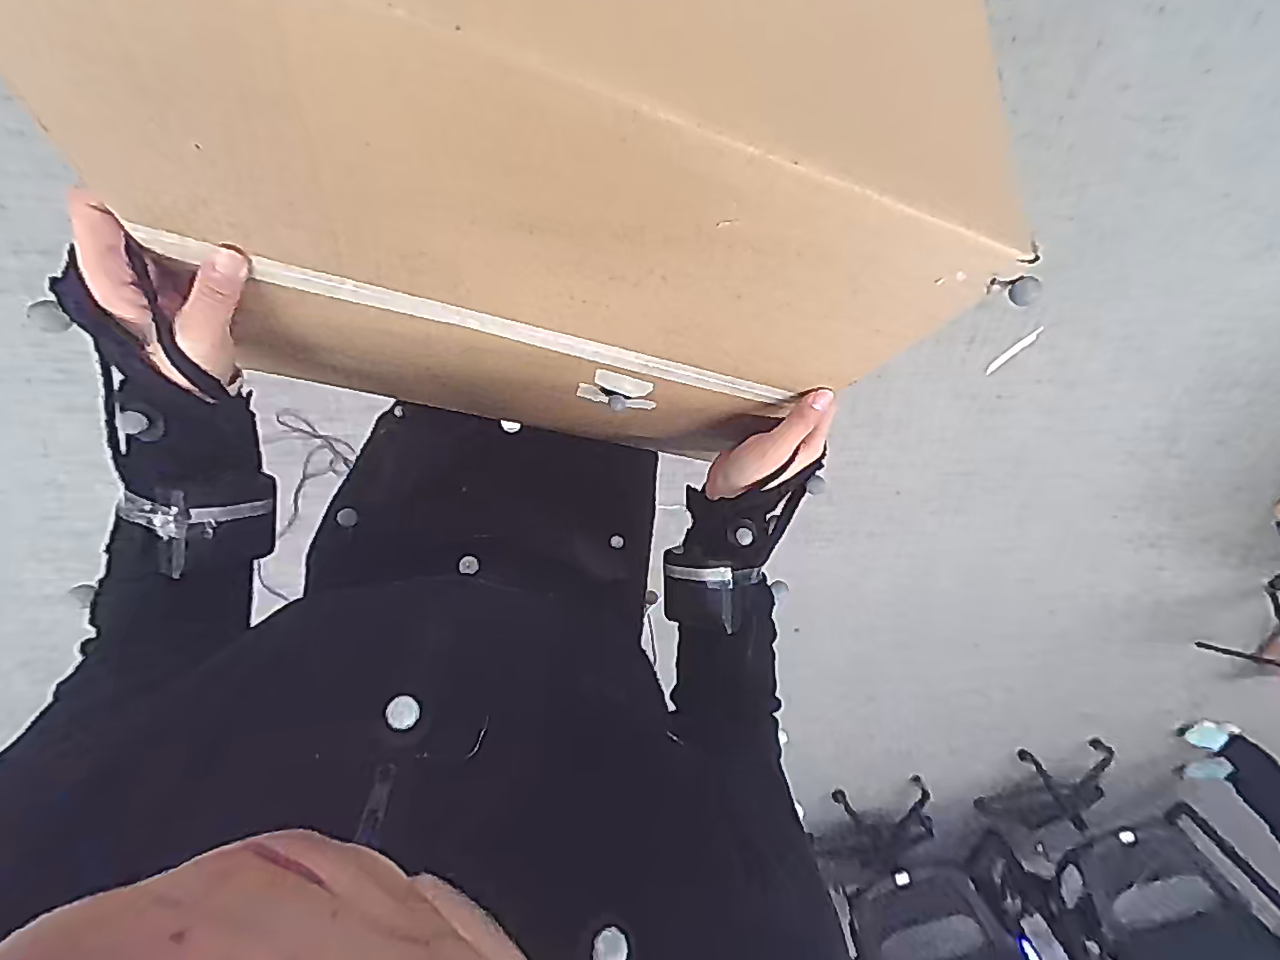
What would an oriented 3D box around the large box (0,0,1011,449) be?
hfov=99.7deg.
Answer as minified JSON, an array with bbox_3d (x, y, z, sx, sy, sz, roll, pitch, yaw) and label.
[{"bbox_3d":[-0.056,-0.240,0.370,0.408,0.320,0.320,9,74,-16],"label":"large box"}]
